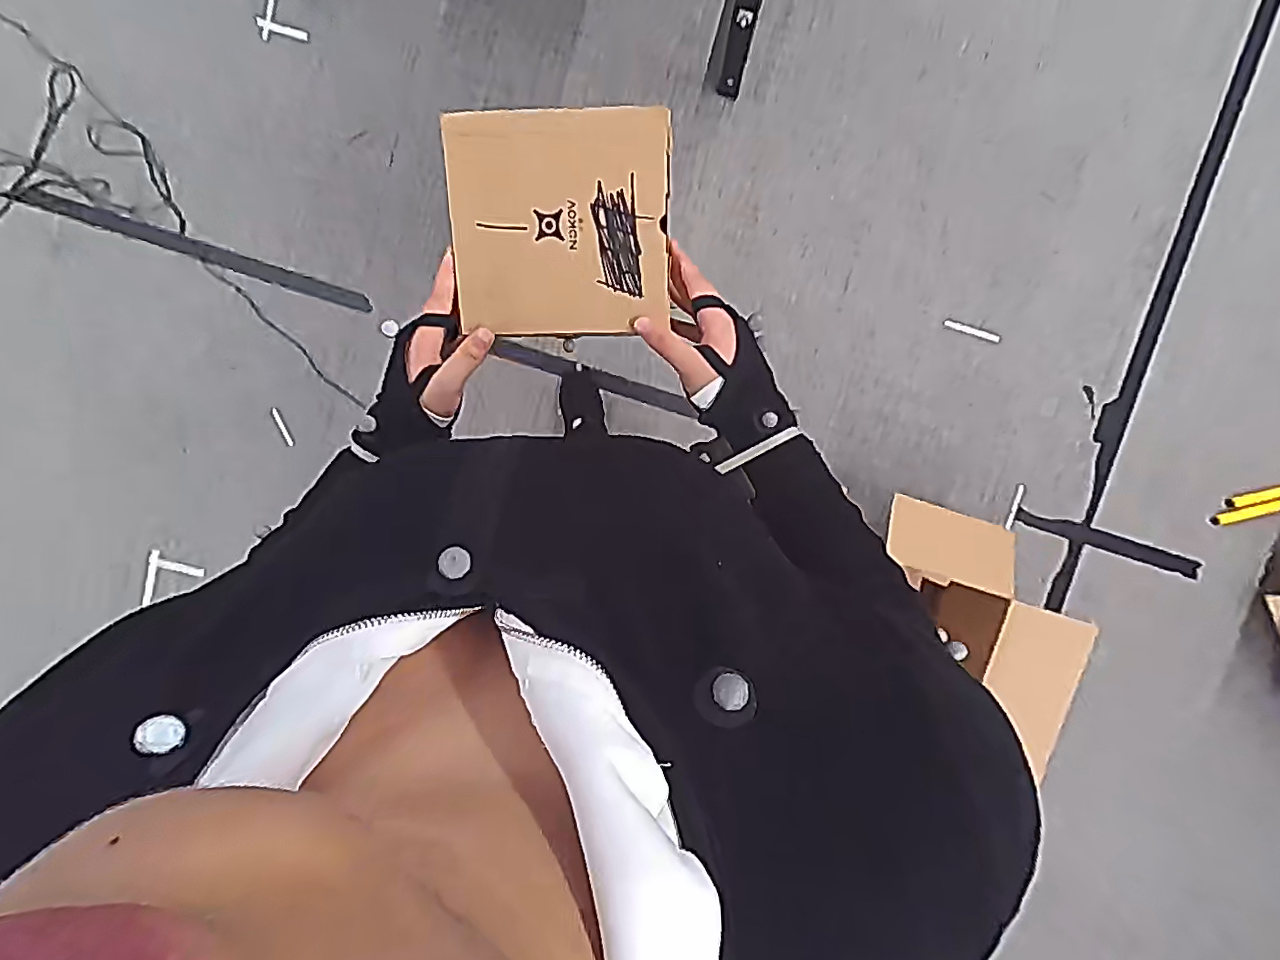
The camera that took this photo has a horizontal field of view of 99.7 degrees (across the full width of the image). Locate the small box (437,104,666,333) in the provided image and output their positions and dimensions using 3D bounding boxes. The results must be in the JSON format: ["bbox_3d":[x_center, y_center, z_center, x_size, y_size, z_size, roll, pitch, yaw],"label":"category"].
[{"bbox_3d":[-0.066,-0.225,0.505,0.179,0.176,0.168,0,104,2],"label":"small box"}]
